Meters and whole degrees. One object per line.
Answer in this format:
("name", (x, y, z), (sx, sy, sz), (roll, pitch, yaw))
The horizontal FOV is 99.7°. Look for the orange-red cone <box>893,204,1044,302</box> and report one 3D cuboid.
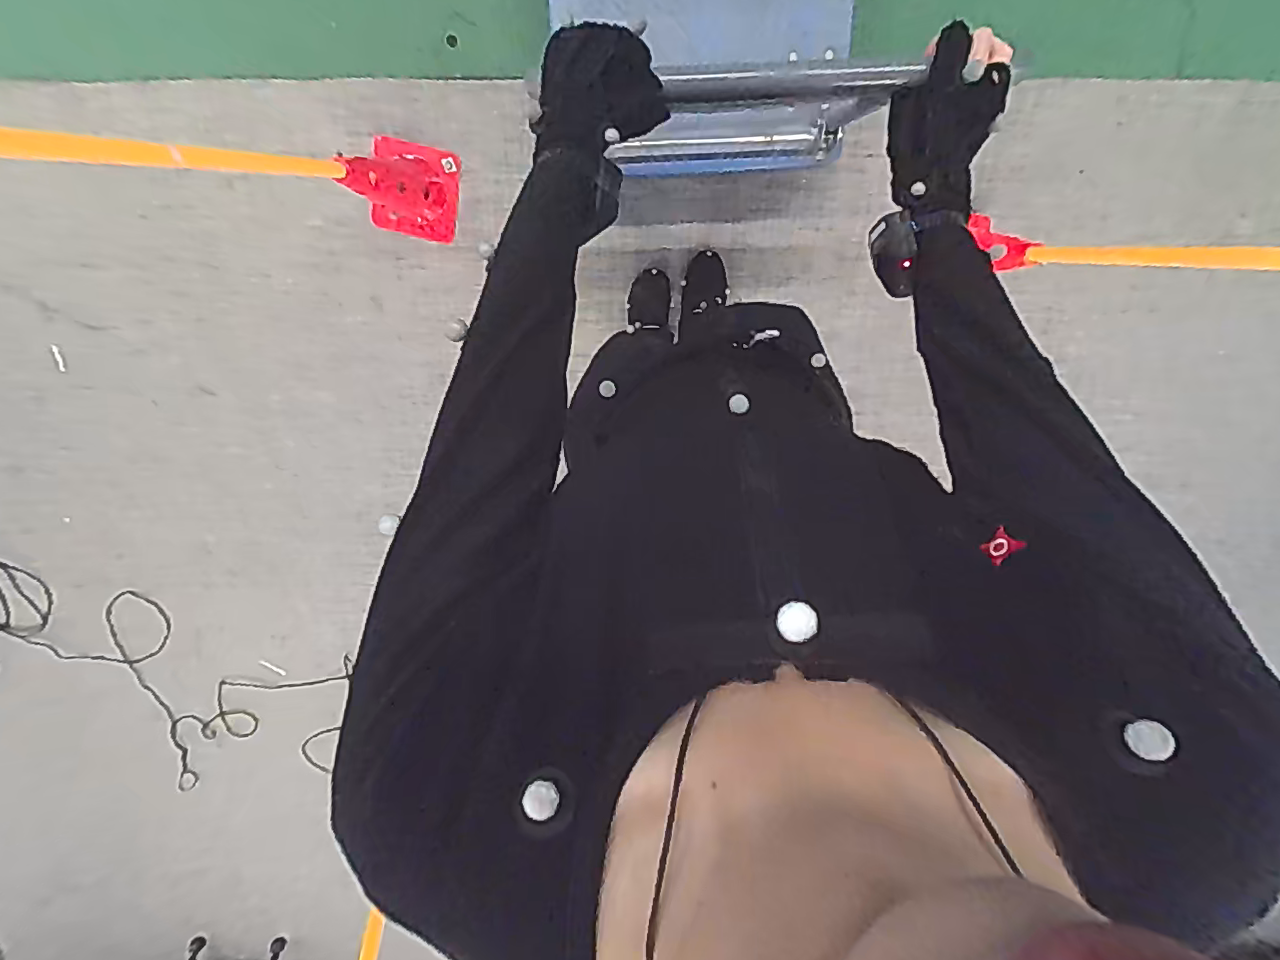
("orange-red cone", (0.745, -0.490, 1.178), (0.198, 0.360, 0.199), (11, 113, -4))
